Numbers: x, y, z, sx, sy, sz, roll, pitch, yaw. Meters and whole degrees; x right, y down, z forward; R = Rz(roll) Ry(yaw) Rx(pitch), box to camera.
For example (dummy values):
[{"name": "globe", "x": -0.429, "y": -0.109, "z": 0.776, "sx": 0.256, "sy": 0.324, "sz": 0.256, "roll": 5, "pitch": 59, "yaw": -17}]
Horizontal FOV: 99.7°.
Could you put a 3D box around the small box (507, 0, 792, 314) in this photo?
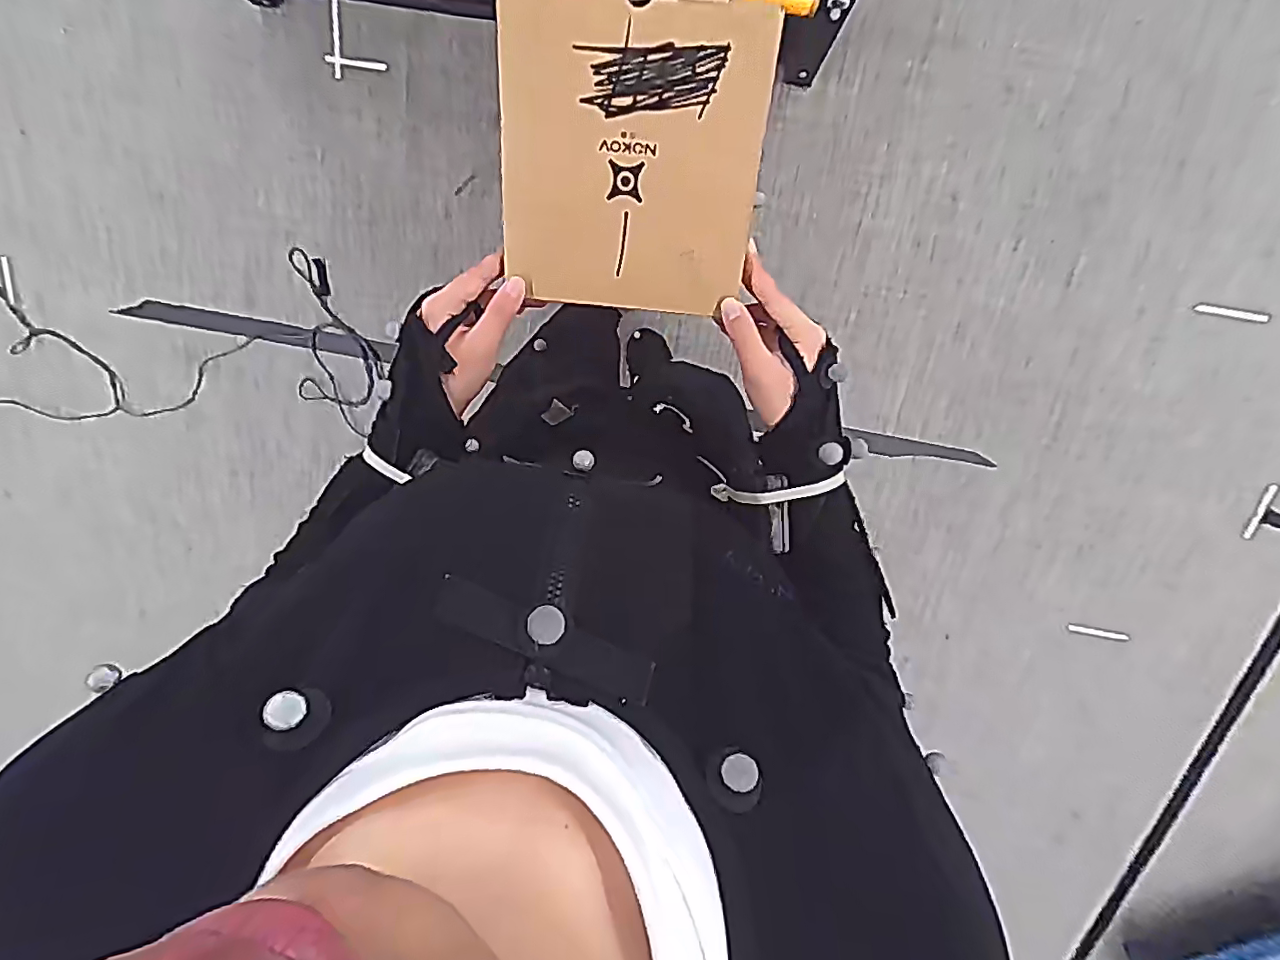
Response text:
[{"name": "small box", "x": 0.003, "y": -0.235, "z": 0.412, "sx": 0.168, "sy": 0.176, "sz": 0.179, "roll": 7, "pitch": 115, "yaw": 2}]
